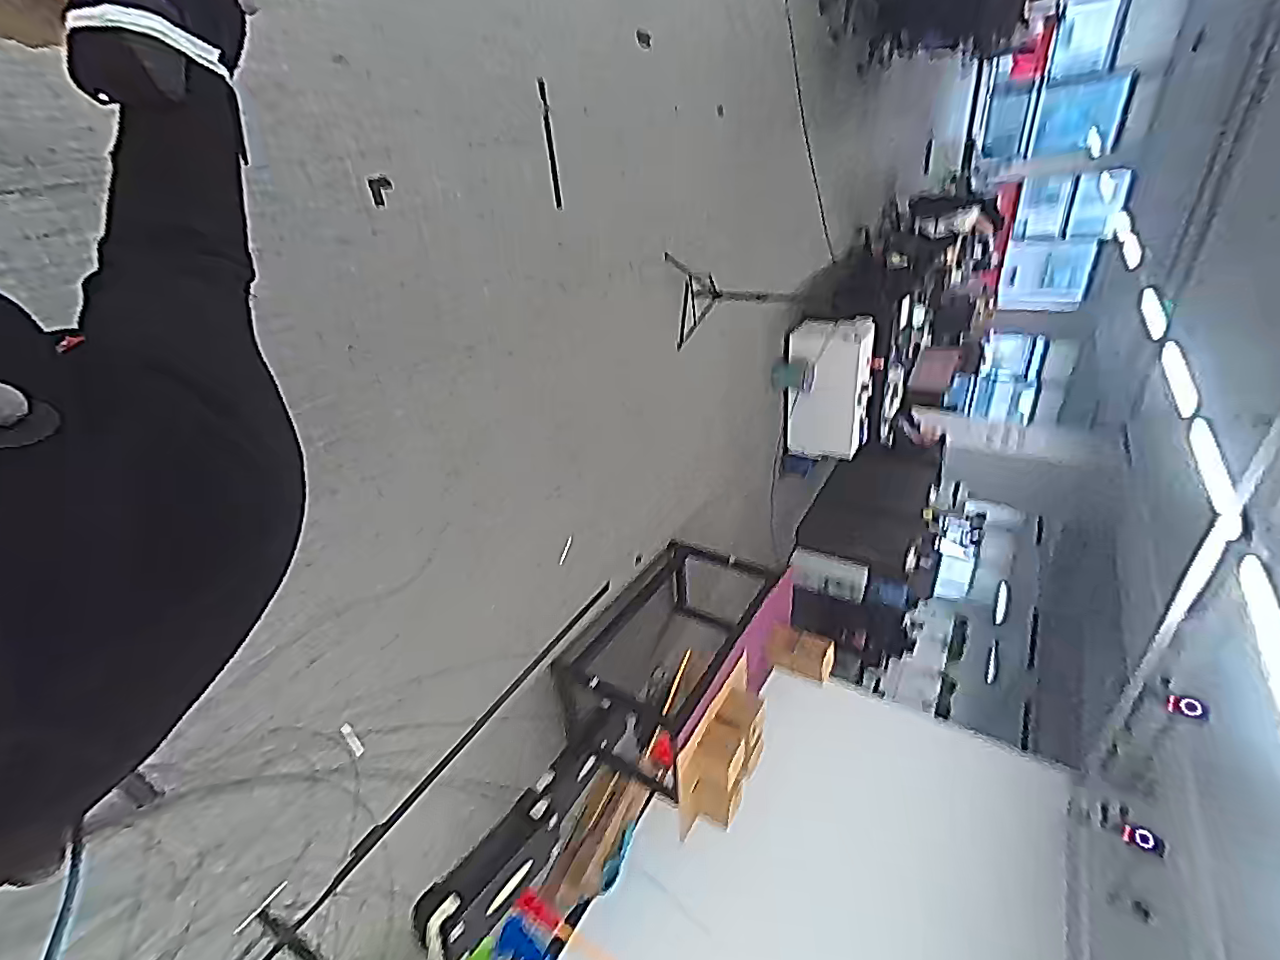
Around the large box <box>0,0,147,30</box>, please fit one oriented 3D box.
[{"bbox_3d":[-0.560,-0.508,0.263,0.408,0.320,0.320,-12,122,-58],"label":"large box"}]
